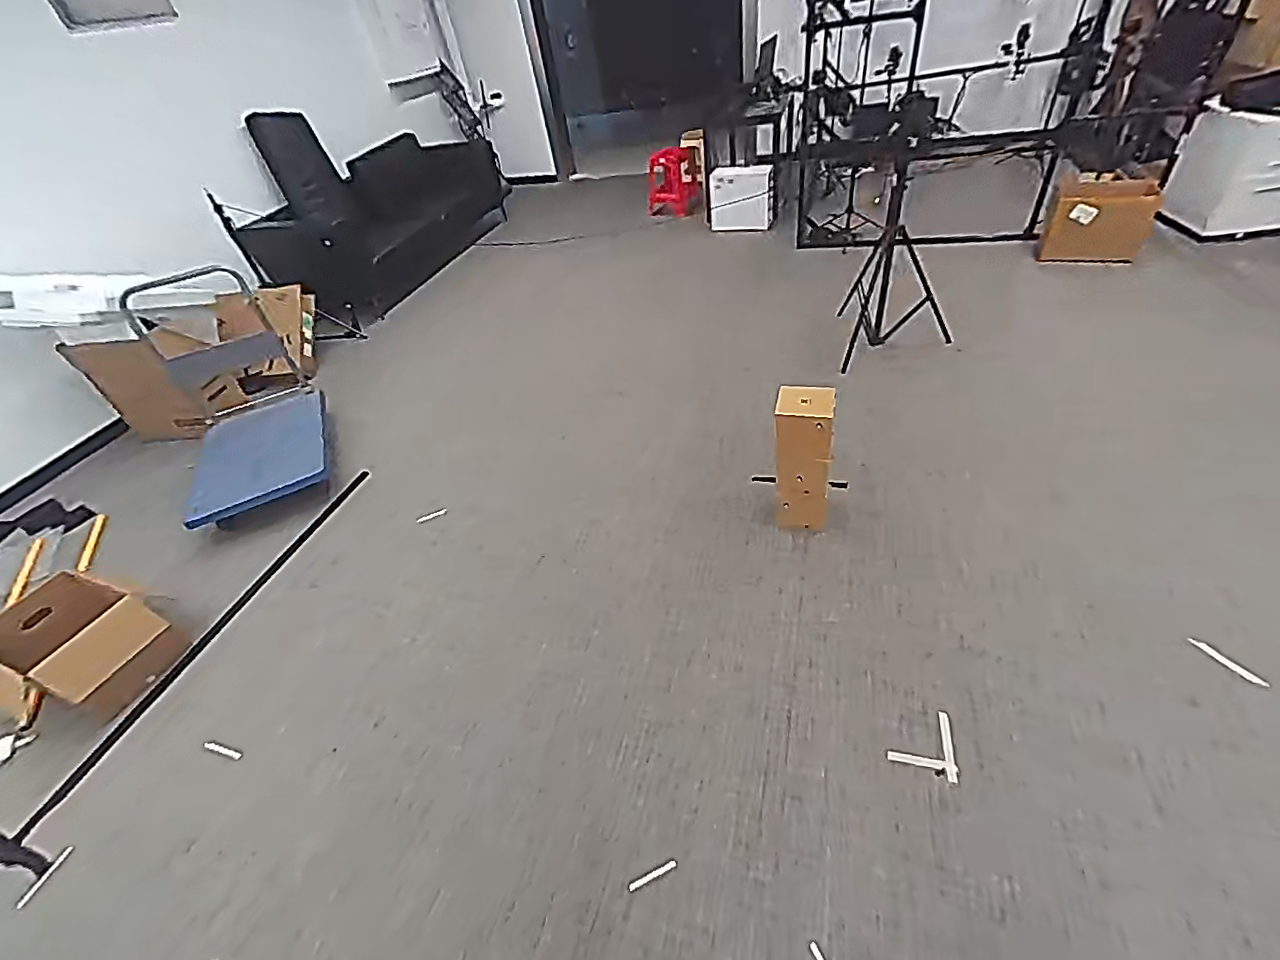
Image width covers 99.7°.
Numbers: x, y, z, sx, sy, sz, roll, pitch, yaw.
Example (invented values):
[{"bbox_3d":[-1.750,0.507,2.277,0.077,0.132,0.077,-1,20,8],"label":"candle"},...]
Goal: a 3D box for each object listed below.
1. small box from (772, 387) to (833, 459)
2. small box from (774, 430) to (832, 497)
[{"bbox_3d":[0.526,-0.185,1.756,0.179,0.176,0.168,5,44,18],"label":"small box"},{"bbox_3d":[0.559,-0.062,1.858,0.168,0.176,0.179,9,44,21],"label":"small box"}]
